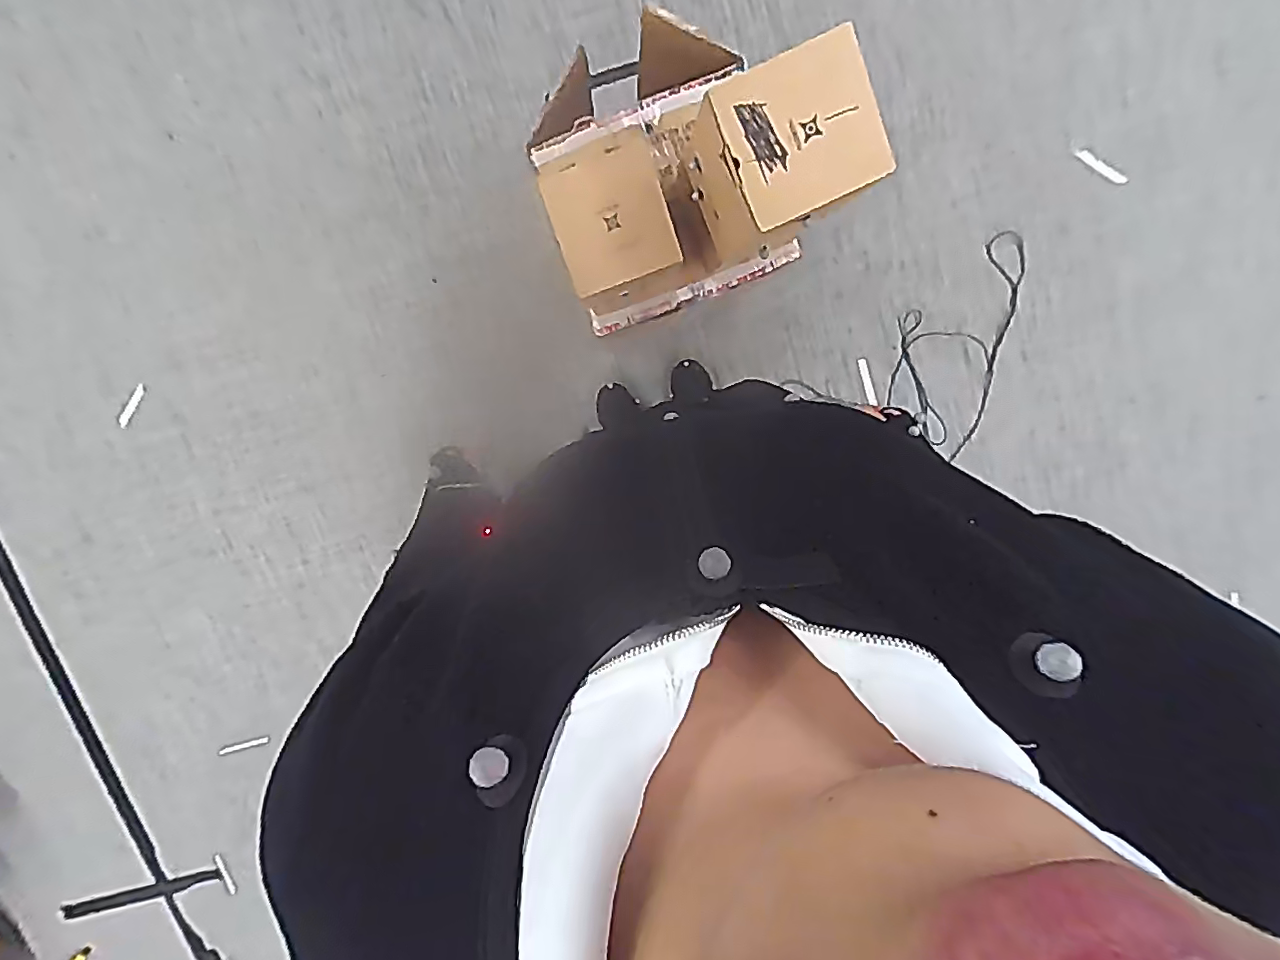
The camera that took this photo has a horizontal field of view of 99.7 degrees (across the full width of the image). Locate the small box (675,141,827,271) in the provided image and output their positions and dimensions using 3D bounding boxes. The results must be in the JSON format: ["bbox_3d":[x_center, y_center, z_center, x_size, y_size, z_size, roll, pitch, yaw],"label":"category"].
[{"bbox_3d":[0.171,-0.454,0.860,0.179,0.176,0.168,-24,102,2],"label":"small box"}]

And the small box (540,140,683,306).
[{"bbox_3d":[-0.042,-0.394,0.865,0.168,0.176,0.179,-20,103,4],"label":"small box"}]

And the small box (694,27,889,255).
[{"bbox_3d":[0.179,-0.415,0.699,0.179,0.176,0.168,-24,102,2],"label":"small box"}]
